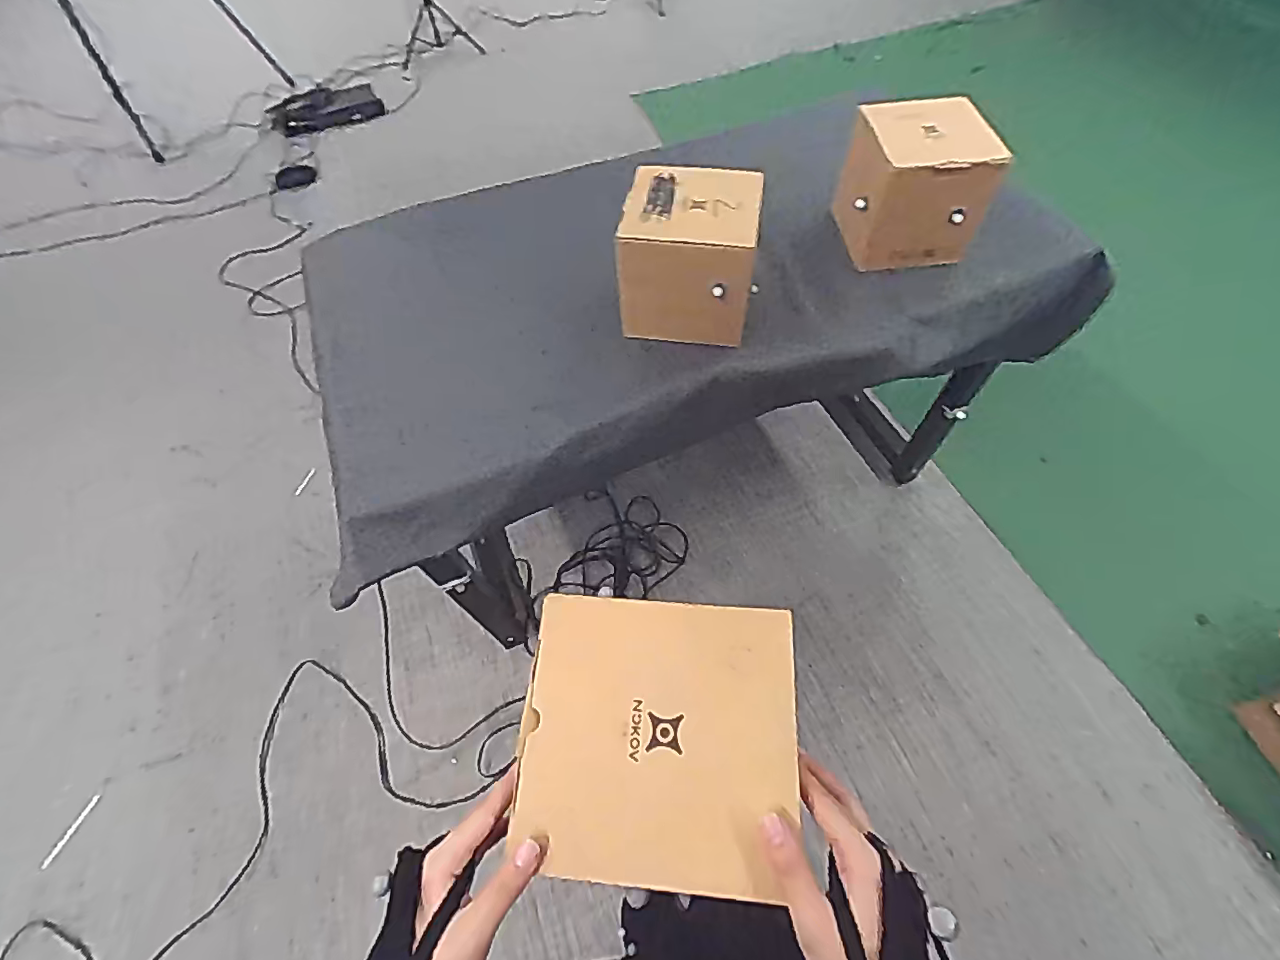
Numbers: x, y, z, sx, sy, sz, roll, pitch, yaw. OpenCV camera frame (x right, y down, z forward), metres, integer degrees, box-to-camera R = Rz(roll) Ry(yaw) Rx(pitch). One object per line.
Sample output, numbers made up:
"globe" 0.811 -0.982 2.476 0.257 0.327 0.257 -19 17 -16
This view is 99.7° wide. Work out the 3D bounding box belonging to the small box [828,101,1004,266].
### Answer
"small box" 0.413 -0.453 0.844 0.168 0.176 0.179 -5 57 -1
